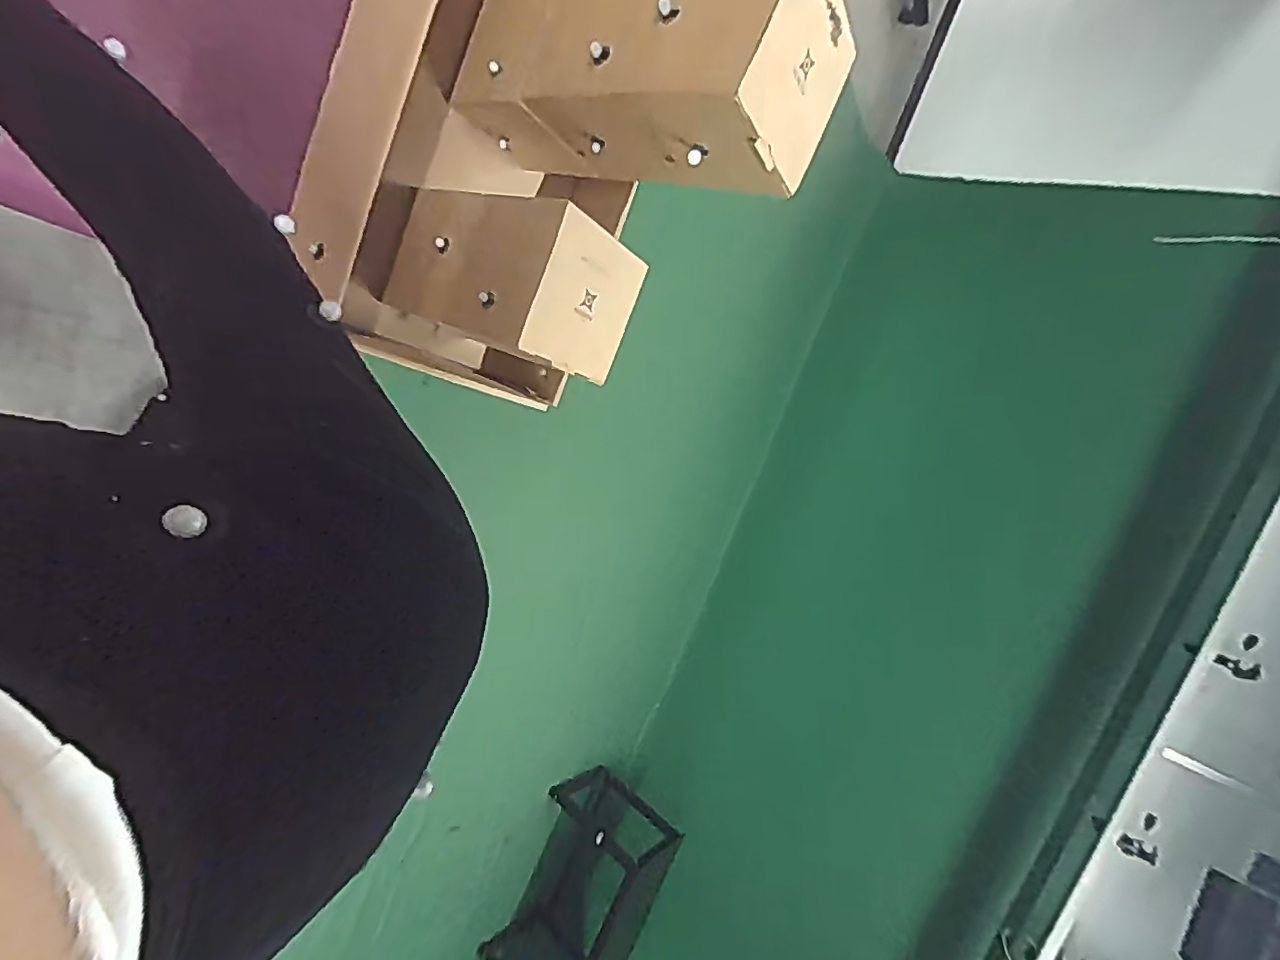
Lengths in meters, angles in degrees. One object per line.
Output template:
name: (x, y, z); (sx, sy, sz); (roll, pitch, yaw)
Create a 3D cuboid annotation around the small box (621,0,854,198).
small box: (0.104, -0.448, 0.599); (0.168, 0.176, 0.179); (17, 99, -56)

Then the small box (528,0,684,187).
small box: (-0.016, -0.510, 0.693); (0.168, 0.176, 0.179); (16, 98, -56)

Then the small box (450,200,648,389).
small box: (-0.124, -0.243, 0.717); (0.168, 0.176, 0.179); (14, 98, -55)

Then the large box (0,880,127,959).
large box: (-1.556, 1.313, 1.302); (0.408, 0.320, 0.320); (-33, 135, -41)
